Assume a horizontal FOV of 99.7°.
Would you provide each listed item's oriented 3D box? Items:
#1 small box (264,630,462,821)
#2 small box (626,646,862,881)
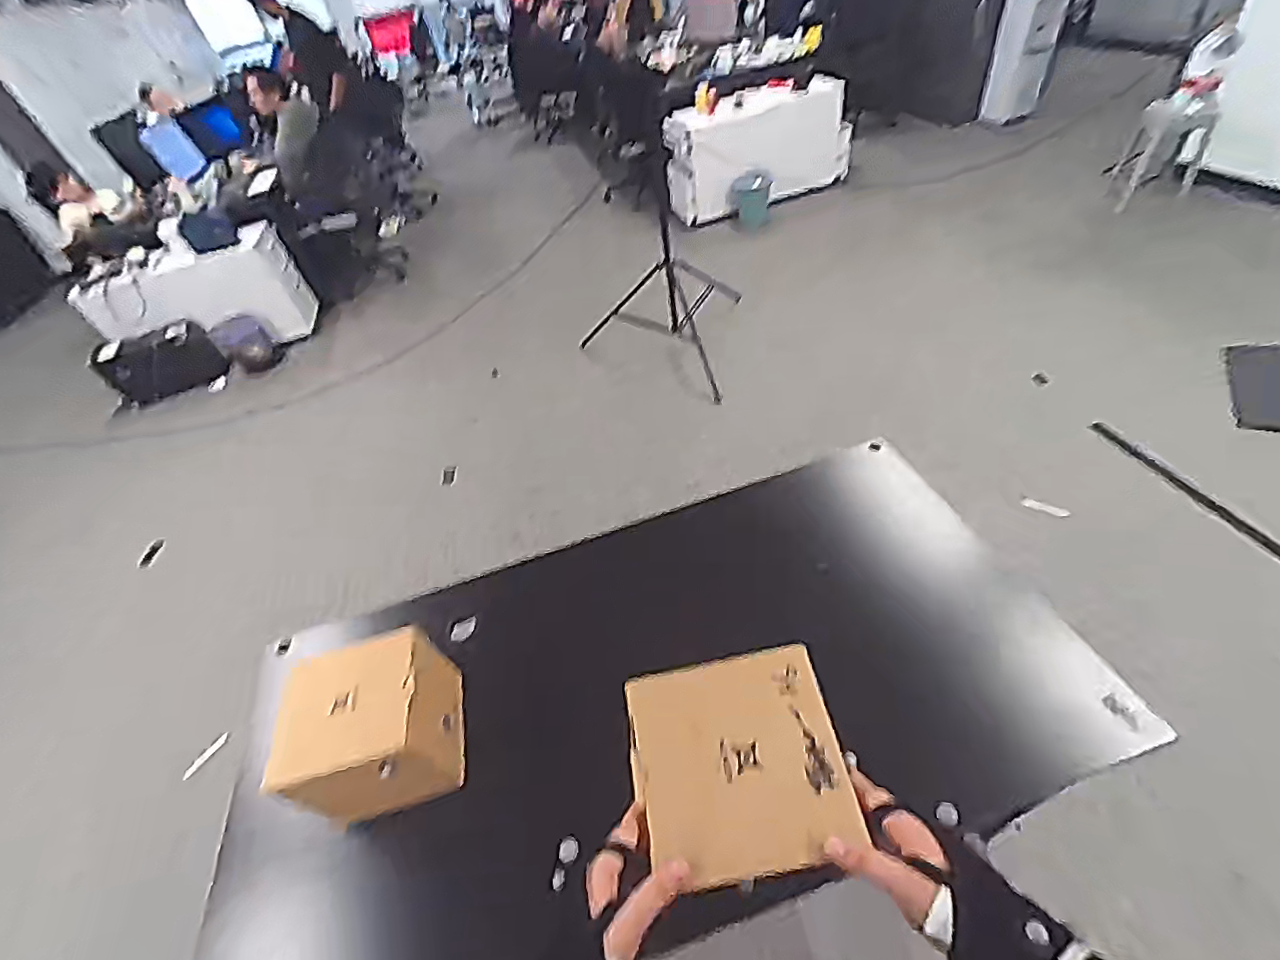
[{"bbox_3d":[-0.364,0.342,0.748,0.179,0.176,0.168,-16,45,-5],"label":"small box"},{"bbox_3d":[0.095,0.286,0.541,0.179,0.176,0.168,-13,55,2],"label":"small box"}]
